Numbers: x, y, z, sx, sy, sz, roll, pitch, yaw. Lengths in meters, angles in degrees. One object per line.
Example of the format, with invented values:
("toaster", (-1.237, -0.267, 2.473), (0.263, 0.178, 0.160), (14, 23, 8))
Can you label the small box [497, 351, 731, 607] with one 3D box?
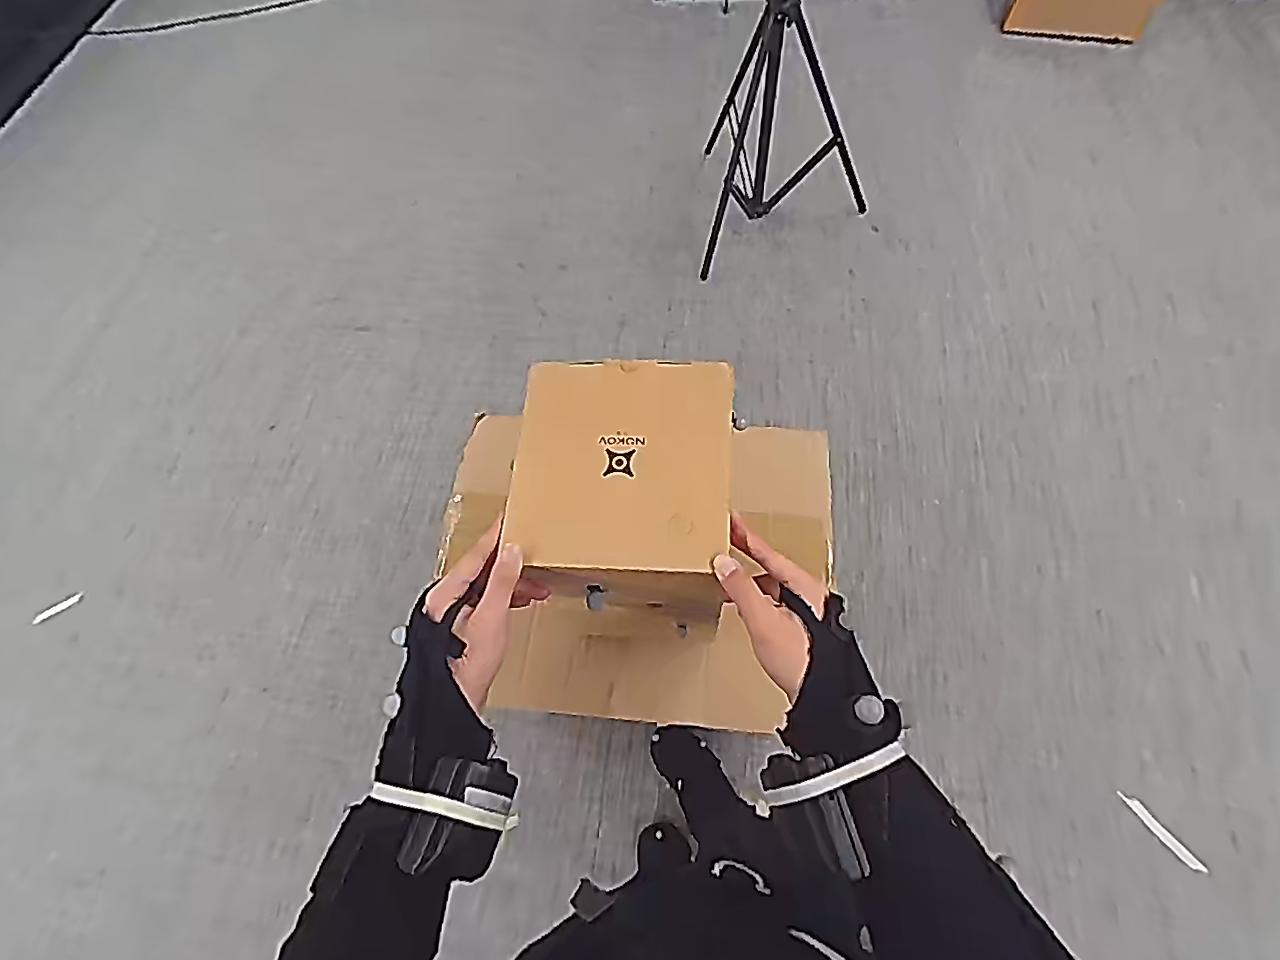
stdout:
("small box", (-0.006, 0.009, 0.472), (0.168, 0.176, 0.179), (1, 66, 7))
